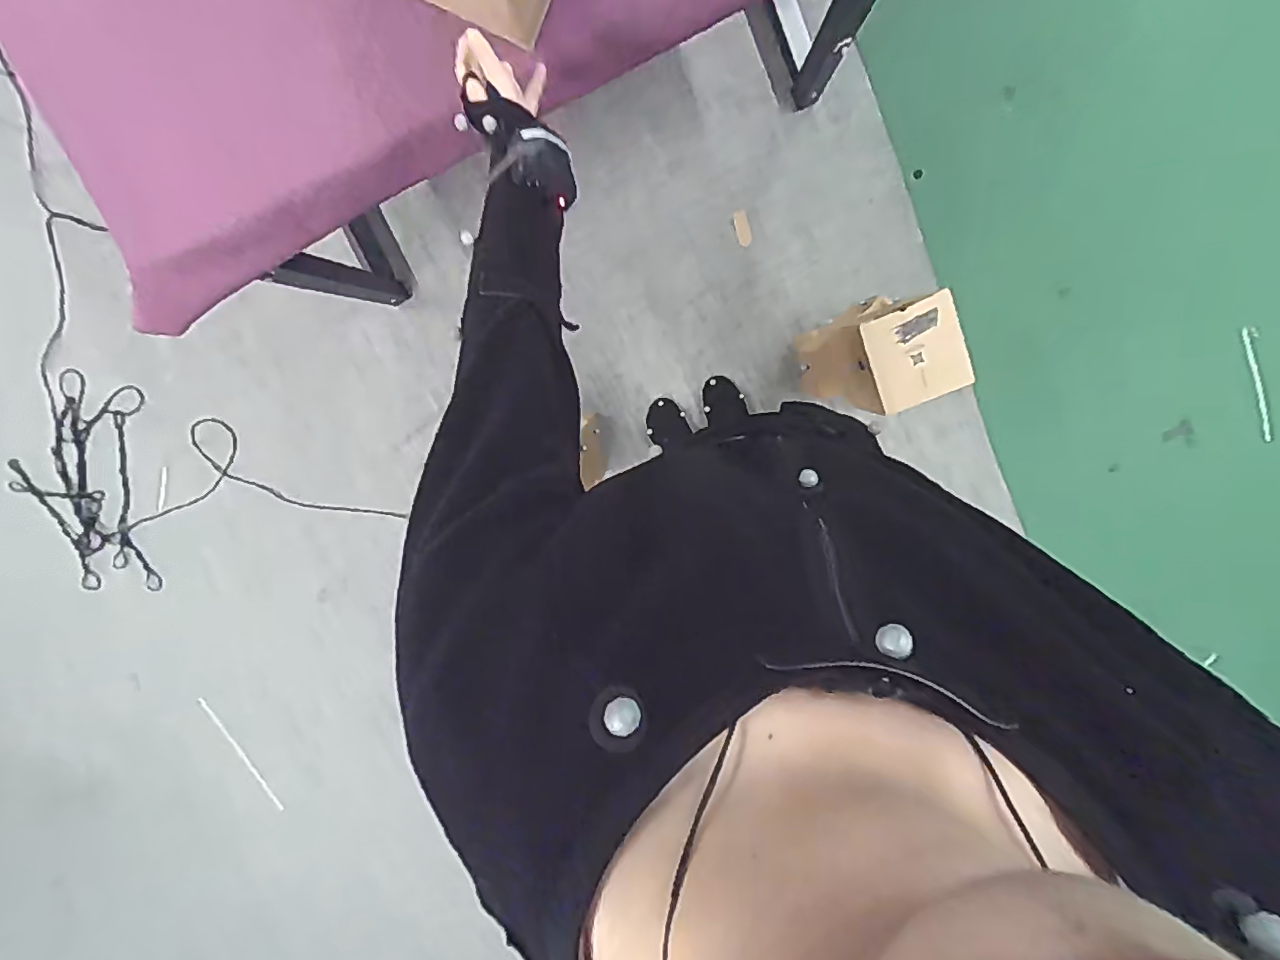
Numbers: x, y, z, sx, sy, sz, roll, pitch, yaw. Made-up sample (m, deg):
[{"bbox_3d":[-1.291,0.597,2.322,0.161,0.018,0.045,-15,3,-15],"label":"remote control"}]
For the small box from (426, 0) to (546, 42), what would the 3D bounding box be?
[{"bbox_3d":[-0.180,-0.615,0.567,0.179,0.176,0.168,25,101,-2],"label":"small box"}]

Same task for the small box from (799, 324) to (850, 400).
[{"bbox_3d":[0.507,-0.302,1.351,0.179,0.176,0.168,-13,102,6],"label":"small box"}]

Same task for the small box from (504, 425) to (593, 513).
[{"bbox_3d":[-0.208,-0.030,1.278,0.168,0.176,0.179,-2,102,4],"label":"small box"}]

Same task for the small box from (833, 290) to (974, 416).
[{"bbox_3d":[0.489,-0.238,1.029,0.168,0.176,0.179,-21,102,6],"label":"small box"}]

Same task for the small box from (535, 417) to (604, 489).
[{"bbox_3d":[-0.194,-0.069,1.434,0.168,0.176,0.179,-8,102,5],"label":"small box"}]
